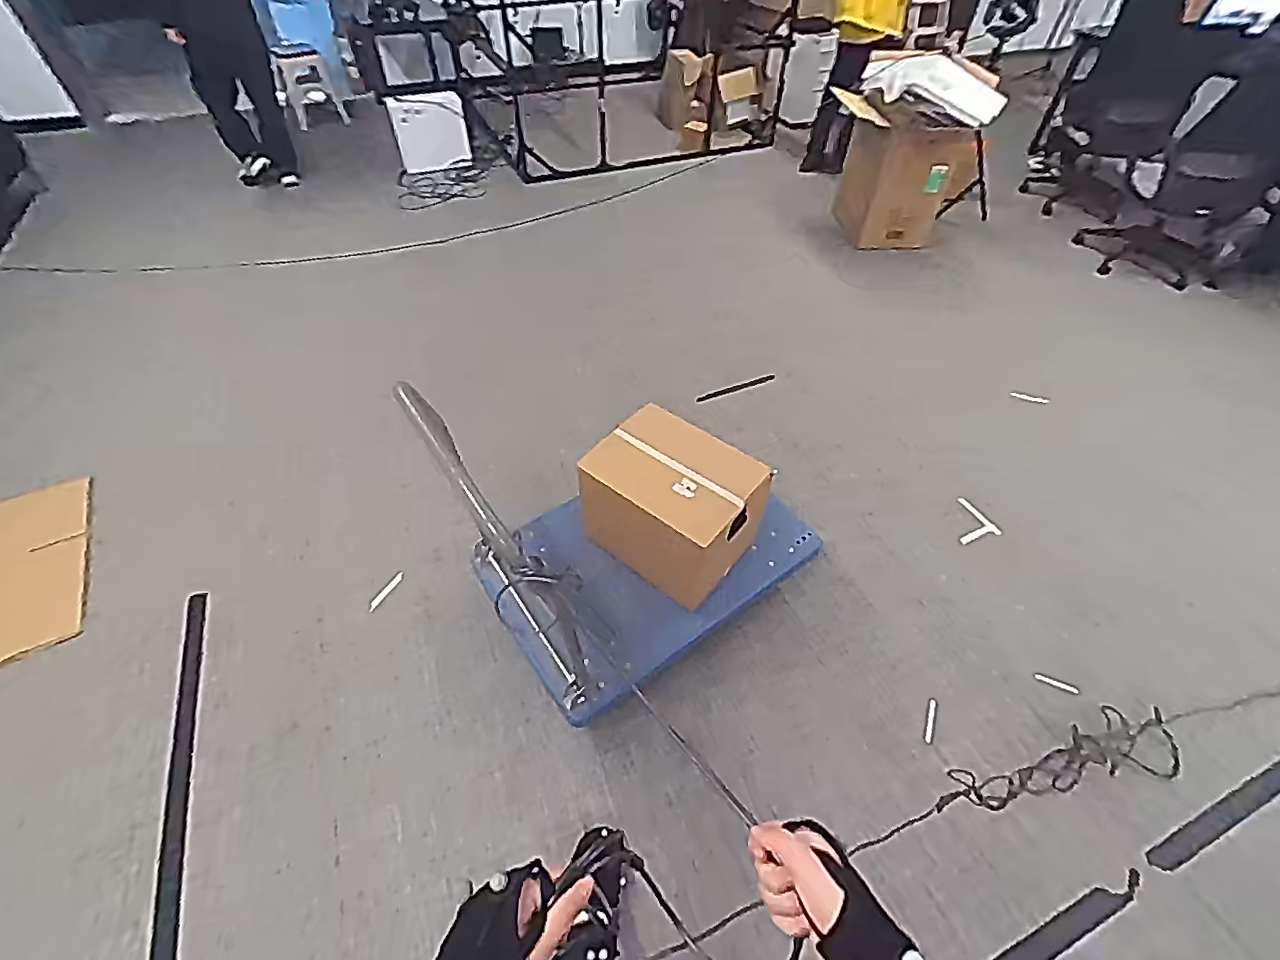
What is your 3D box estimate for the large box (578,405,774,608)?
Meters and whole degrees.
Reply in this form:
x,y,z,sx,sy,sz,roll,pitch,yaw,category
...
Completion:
x,y,z,sx,sy,sz,roll,pitch,yaw,category
0.084,0.067,1.468,0.408,0.320,0.320,32,57,23,large box
